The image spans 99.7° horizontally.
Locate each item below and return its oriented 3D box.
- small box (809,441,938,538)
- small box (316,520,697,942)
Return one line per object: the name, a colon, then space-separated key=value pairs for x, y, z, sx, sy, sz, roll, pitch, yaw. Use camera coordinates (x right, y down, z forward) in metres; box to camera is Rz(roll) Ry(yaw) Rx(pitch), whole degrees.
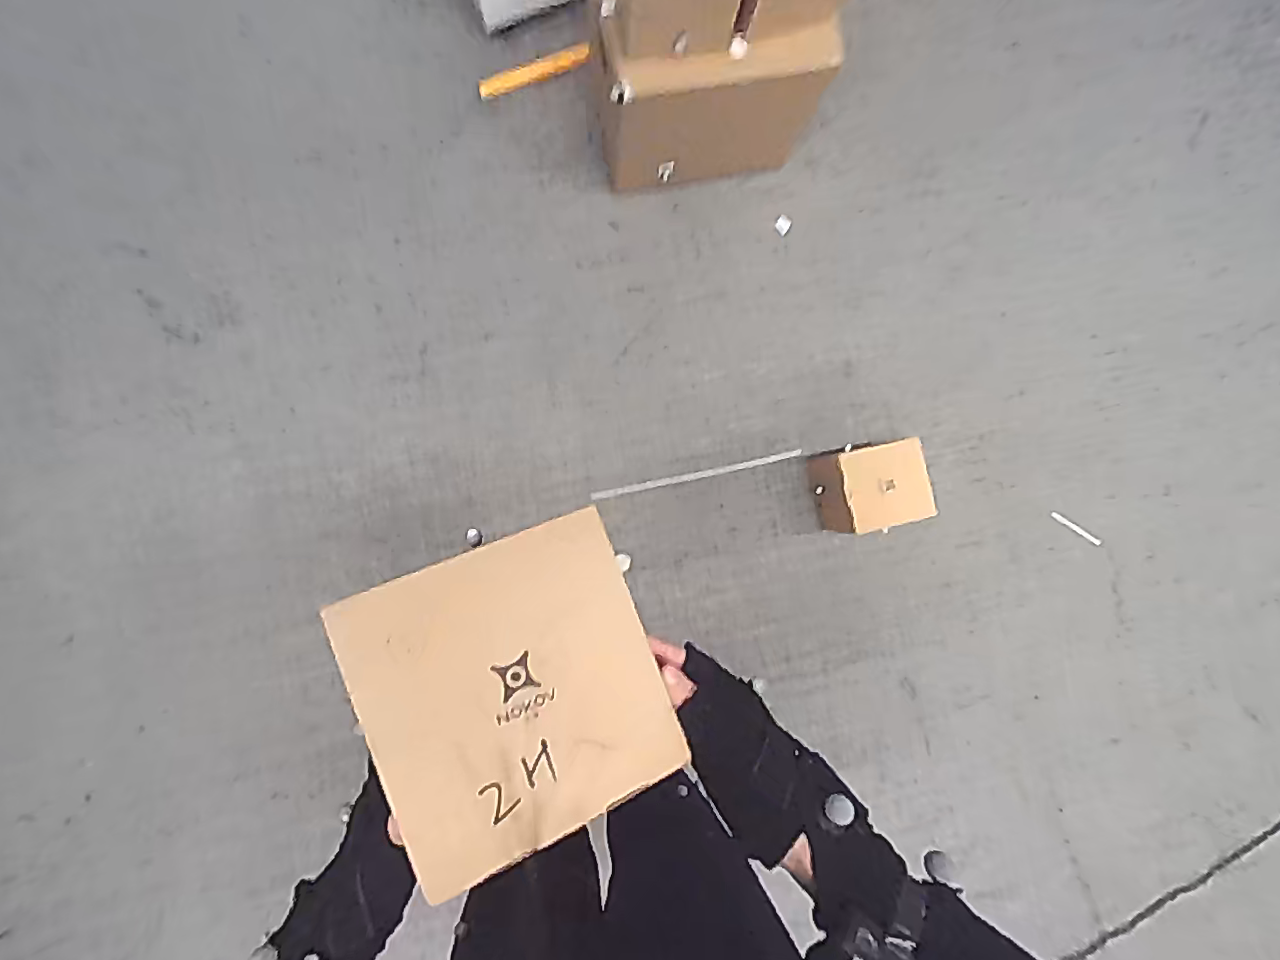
small box: x=0.485 y=0.018 z=1.144 sx=0.179 sy=0.176 sz=0.168 roll=-13 pitch=90 yaw=-4
small box: x=-0.089 y=0.140 z=0.376 sx=0.168 sy=0.176 sz=0.179 roll=-20 pitch=89 yaw=-17
